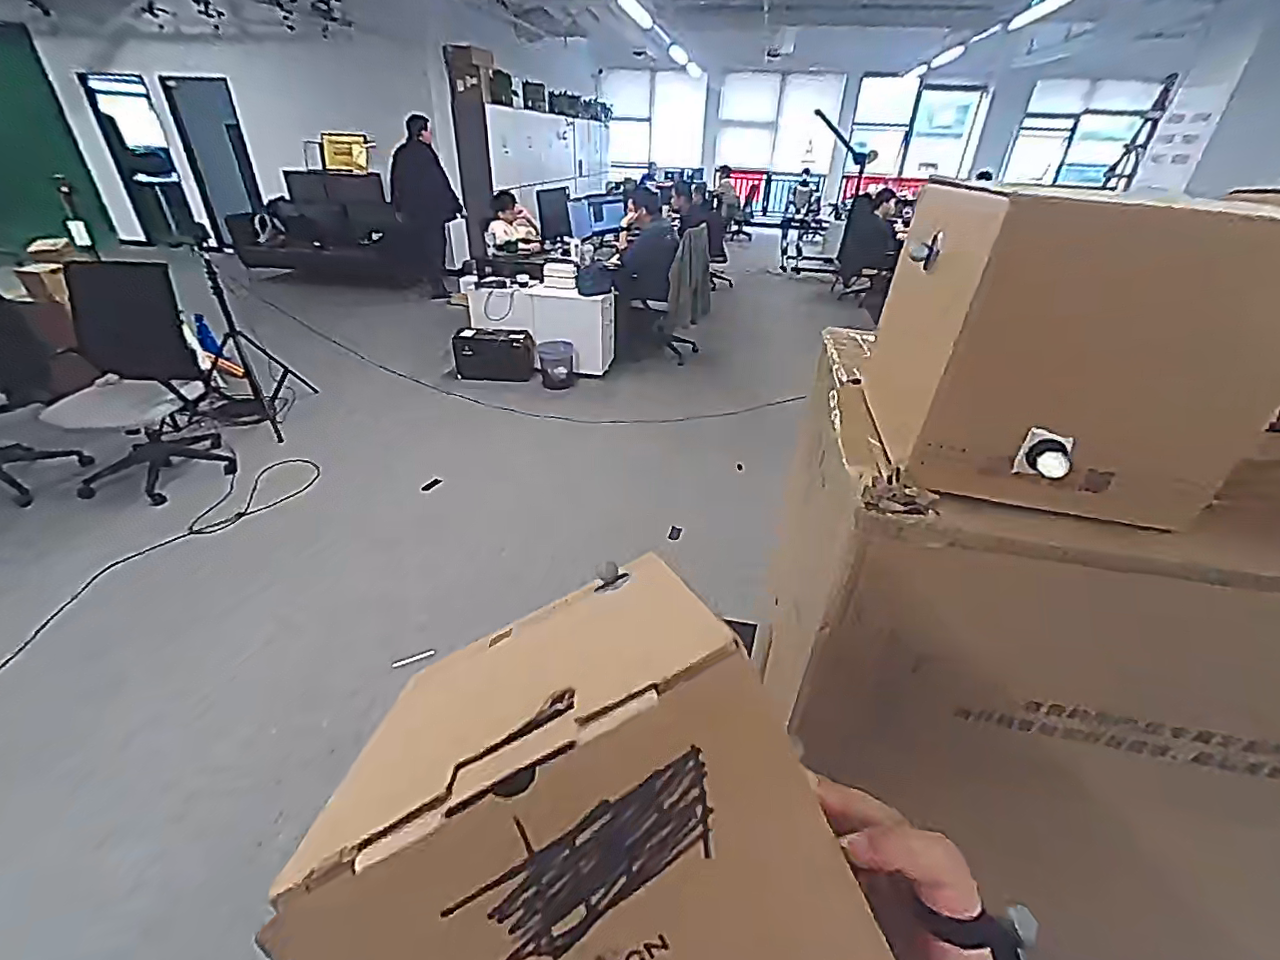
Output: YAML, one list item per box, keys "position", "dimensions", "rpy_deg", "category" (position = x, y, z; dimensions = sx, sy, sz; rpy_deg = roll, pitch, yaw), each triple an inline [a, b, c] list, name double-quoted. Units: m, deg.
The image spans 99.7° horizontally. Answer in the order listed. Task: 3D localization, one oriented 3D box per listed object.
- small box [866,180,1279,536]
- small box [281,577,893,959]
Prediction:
- position: [0.263, -0.090, 0.355]
  dimensions: [0.168, 0.176, 0.179]
  rpy_deg: [9, 34, 8]
  category: "small box"
- position: [-0.015, 0.161, 0.259]
  dimensions: [0.168, 0.179, 0.176]
  rpy_deg: [-26, 6, -7]
  category: "small box"
